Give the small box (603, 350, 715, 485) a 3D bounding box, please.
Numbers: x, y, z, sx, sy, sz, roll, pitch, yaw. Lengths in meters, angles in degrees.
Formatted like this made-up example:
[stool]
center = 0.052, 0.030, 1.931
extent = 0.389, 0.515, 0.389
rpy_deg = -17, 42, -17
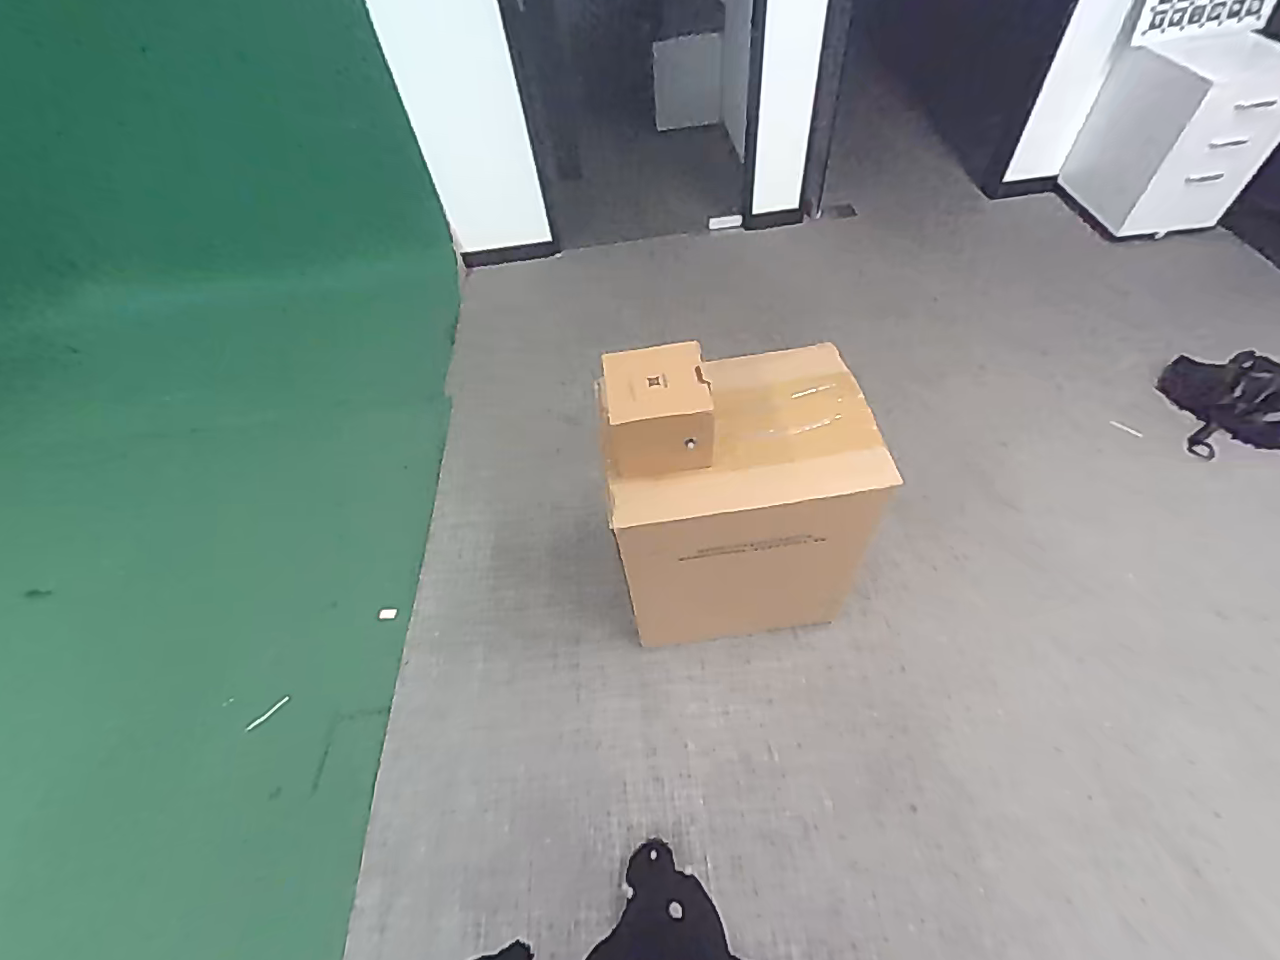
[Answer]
[small box]
center = 0.036, -0.111, 0.998
extent = 0.179, 0.176, 0.168
rpy_deg = -10, 56, 1
